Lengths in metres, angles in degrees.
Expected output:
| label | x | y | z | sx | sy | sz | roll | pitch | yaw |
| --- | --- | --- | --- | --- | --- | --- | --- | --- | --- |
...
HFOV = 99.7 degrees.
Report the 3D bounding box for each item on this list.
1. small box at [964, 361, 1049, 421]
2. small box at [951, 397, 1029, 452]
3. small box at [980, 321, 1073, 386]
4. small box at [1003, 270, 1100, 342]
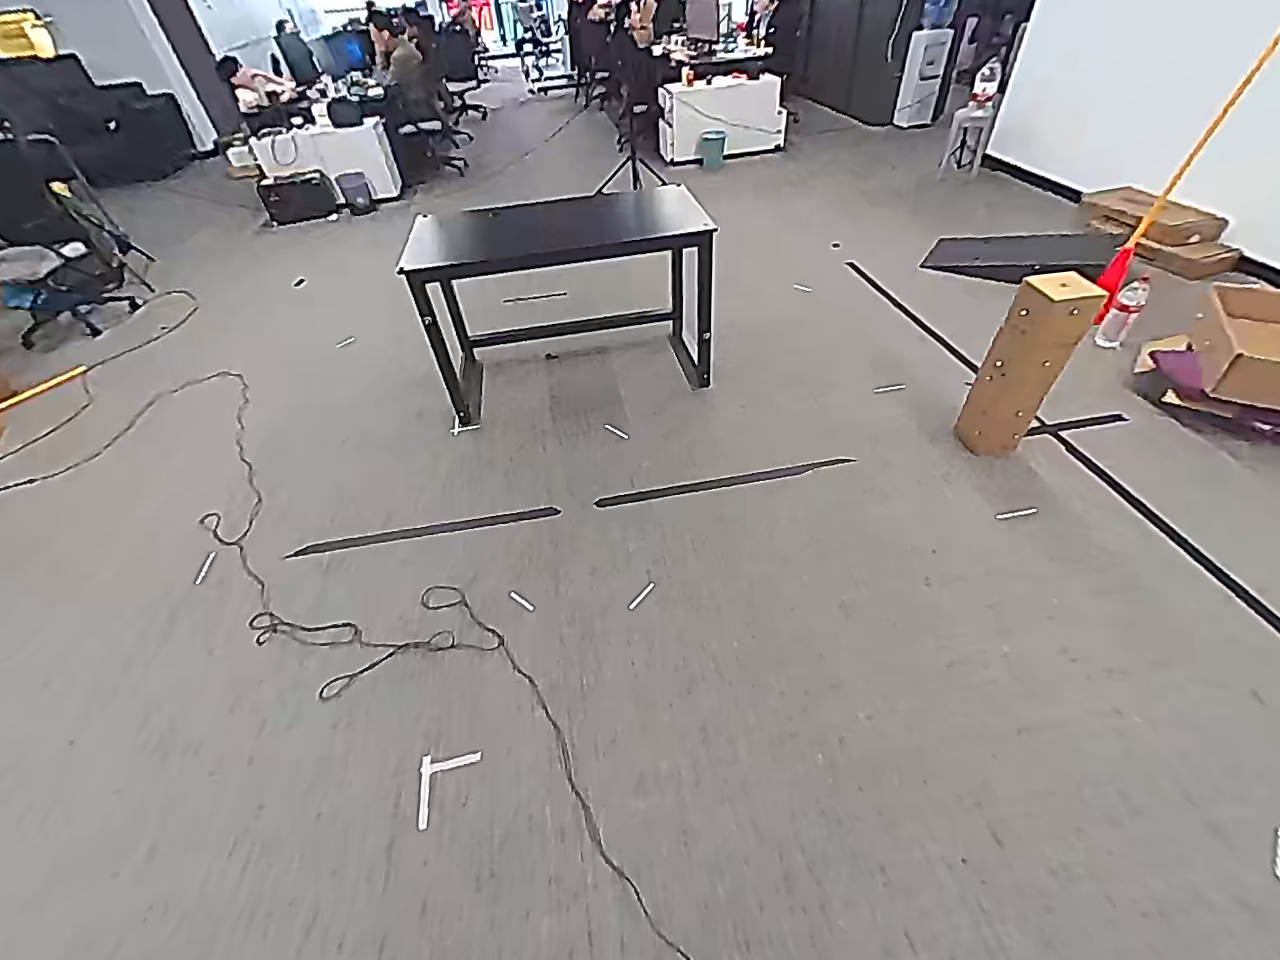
| label | x | y | z | sx | sy | sz | roll | pitch | yaw |
| --- | --- | --- | --- | --- | --- | --- | --- | --- | --- |
| small box | 1.362 | -0.342 | 2.023 | 0.179 | 0.176 | 0.168 | -11 | 45 | -7 |
| small box | 1.376 | -0.227 | 2.138 | 0.168 | 0.176 | 0.179 | -10 | 43 | -5 |
| small box | 1.352 | -0.456 | 1.904 | 0.179 | 0.176 | 0.168 | -12 | 45 | -6 |
| small box | 1.342 | -0.570 | 1.786 | 0.179 | 0.176 | 0.168 | -8 | 45 | -3 |
